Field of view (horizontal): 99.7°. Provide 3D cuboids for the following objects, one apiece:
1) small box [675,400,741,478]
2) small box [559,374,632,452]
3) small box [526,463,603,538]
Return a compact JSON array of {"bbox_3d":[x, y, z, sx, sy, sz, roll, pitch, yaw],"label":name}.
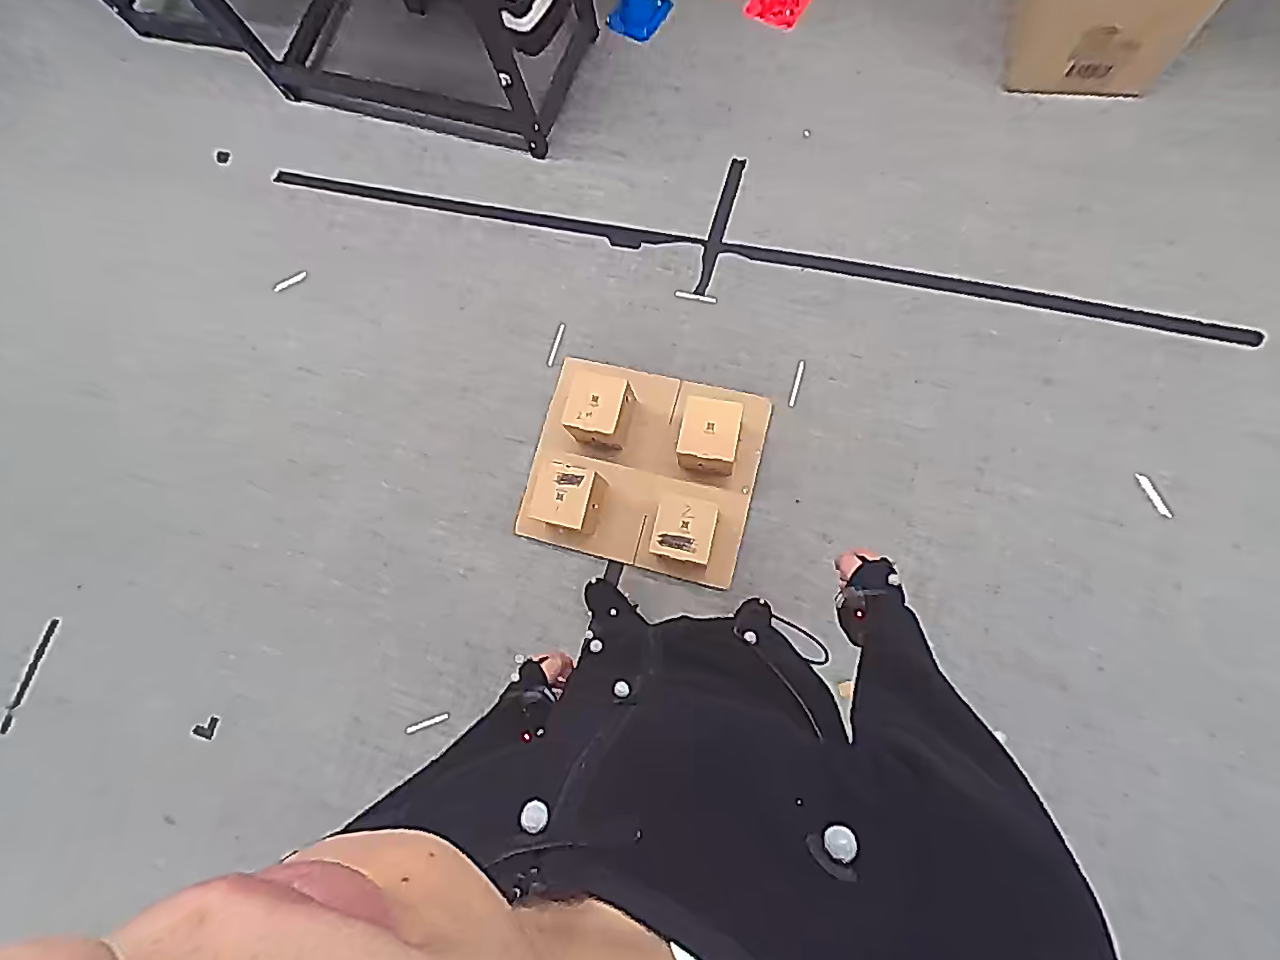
[{"bbox_3d":[0.201,-0.119,1.605,0.168,0.176,0.179,10,80,10],"label":"small box"},{"bbox_3d":[-0.128,-0.201,1.660,0.168,0.176,0.179,13,81,11],"label":"small box"},{"bbox_3d":[-0.219,0.066,1.619,0.168,0.176,0.179,12,81,11],"label":"small box"}]
